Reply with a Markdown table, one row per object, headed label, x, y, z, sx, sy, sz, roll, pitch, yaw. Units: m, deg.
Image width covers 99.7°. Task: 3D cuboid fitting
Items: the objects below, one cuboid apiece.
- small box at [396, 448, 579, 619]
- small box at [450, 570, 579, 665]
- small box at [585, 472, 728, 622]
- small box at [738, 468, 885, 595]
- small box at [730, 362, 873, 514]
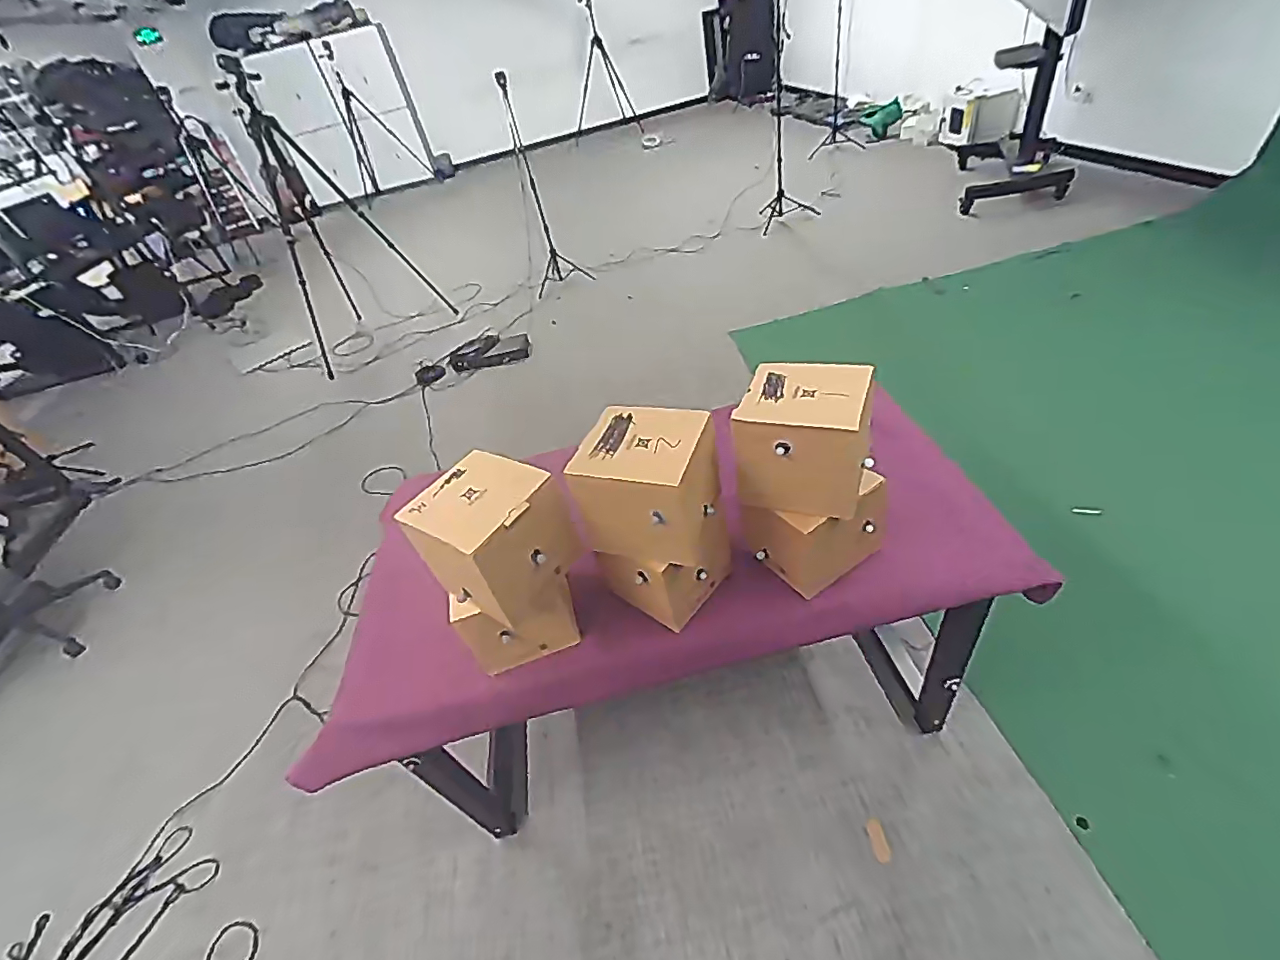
| label | x | y | z | sx | sy | sz | roll | pitch | yaw |
| --- | --- | --- | --- | --- | --- | --- | --- | --- | --- |
| small box | -0.218 | 0.081 | 0.815 | 0.179 | 0.176 | 0.168 | 18 | 49 | 32 |
| small box | -0.216 | 0.195 | 0.939 | 0.168 | 0.176 | 0.179 | -20 | 40 | -6 |
| small box | 0.037 | 0.120 | 0.945 | 0.179 | 0.176 | 0.168 | 25 | 54 | 37 |
| small box | 0.292 | 0.061 | 0.938 | 0.179 | 0.176 | 0.168 | -30 | 42 | -16 |
| small box | 0.254 | -0.067 | 0.842 | 0.179 | 0.176 | 0.168 | 9 | 45 | 26 |
